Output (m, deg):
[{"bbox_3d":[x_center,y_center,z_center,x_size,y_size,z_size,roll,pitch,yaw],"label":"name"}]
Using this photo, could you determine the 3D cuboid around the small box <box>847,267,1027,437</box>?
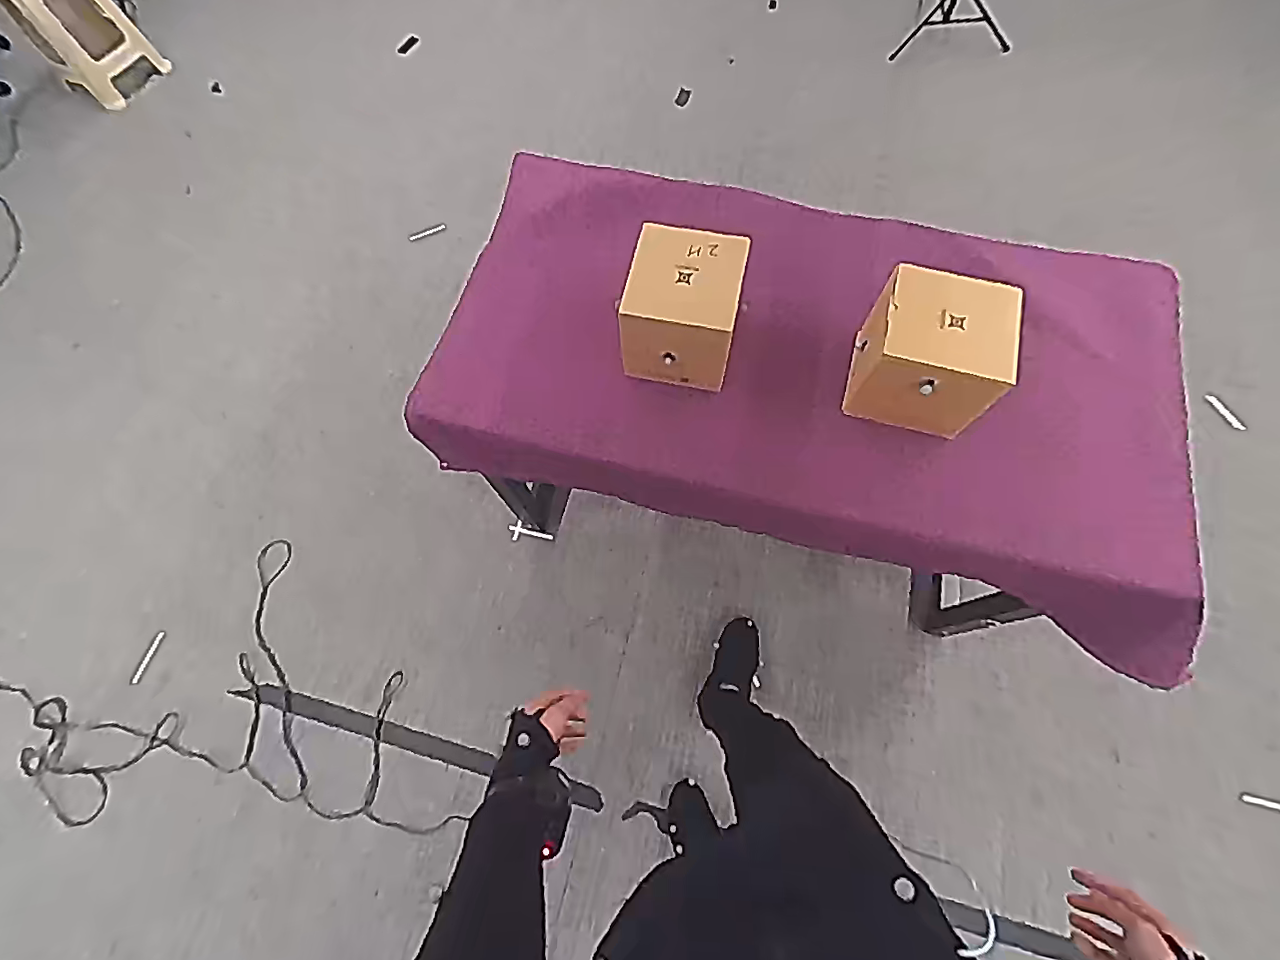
[{"bbox_3d":[0.435,-0.182,0.812,0.179,0.176,0.168,15,70,9],"label":"small box"}]

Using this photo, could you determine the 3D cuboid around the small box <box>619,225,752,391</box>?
[{"bbox_3d":[0.072,-0.263,0.854,0.168,0.176,0.179,12,69,6],"label":"small box"}]
